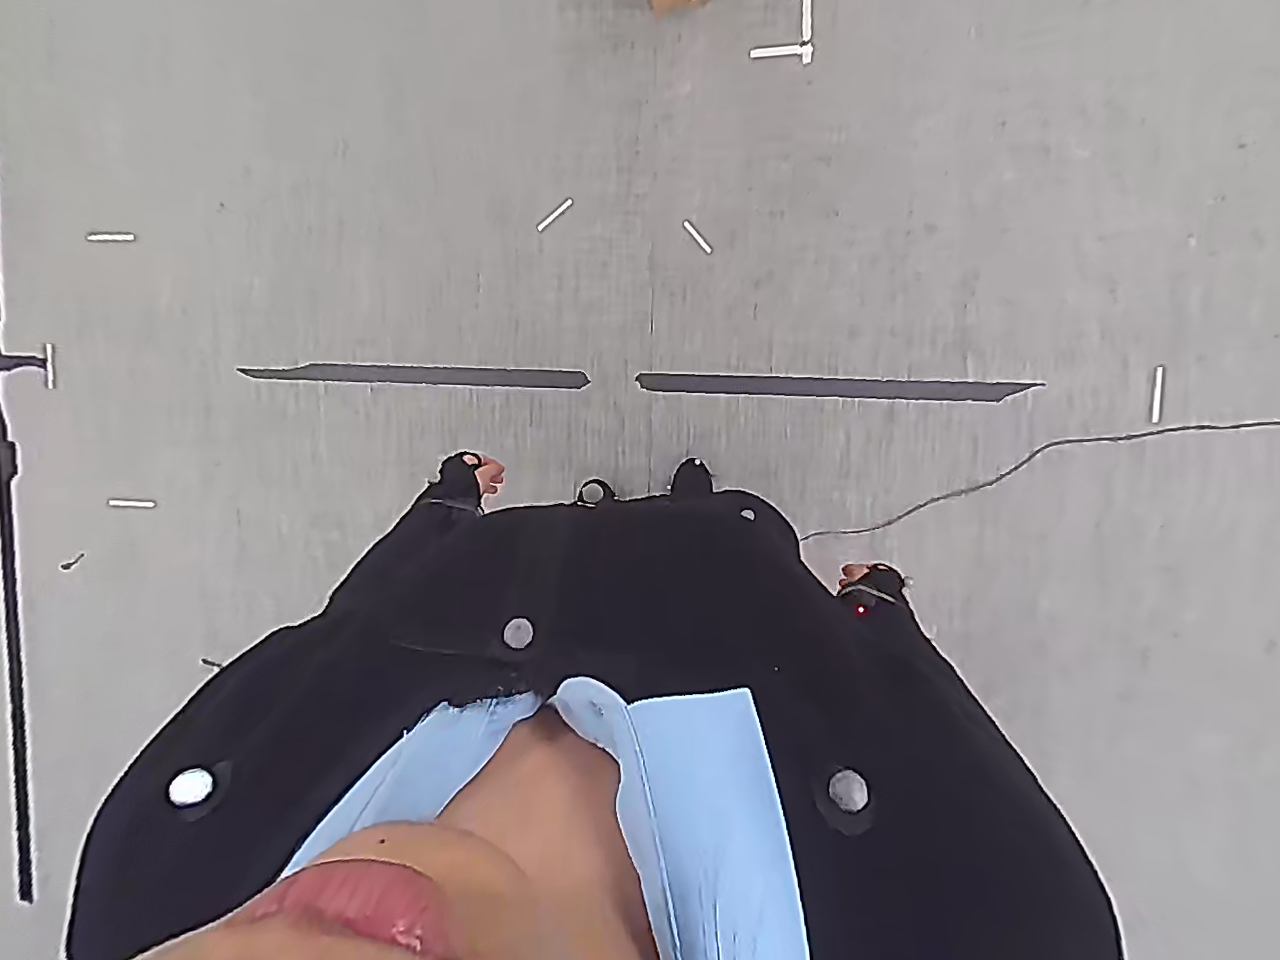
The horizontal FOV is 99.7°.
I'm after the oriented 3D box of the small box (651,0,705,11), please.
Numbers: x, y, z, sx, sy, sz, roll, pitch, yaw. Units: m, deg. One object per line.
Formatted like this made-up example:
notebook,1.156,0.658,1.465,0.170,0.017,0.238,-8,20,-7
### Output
small box,0.092,-1.322,1.329,0.168,0.176,0.179,-10,92,7
